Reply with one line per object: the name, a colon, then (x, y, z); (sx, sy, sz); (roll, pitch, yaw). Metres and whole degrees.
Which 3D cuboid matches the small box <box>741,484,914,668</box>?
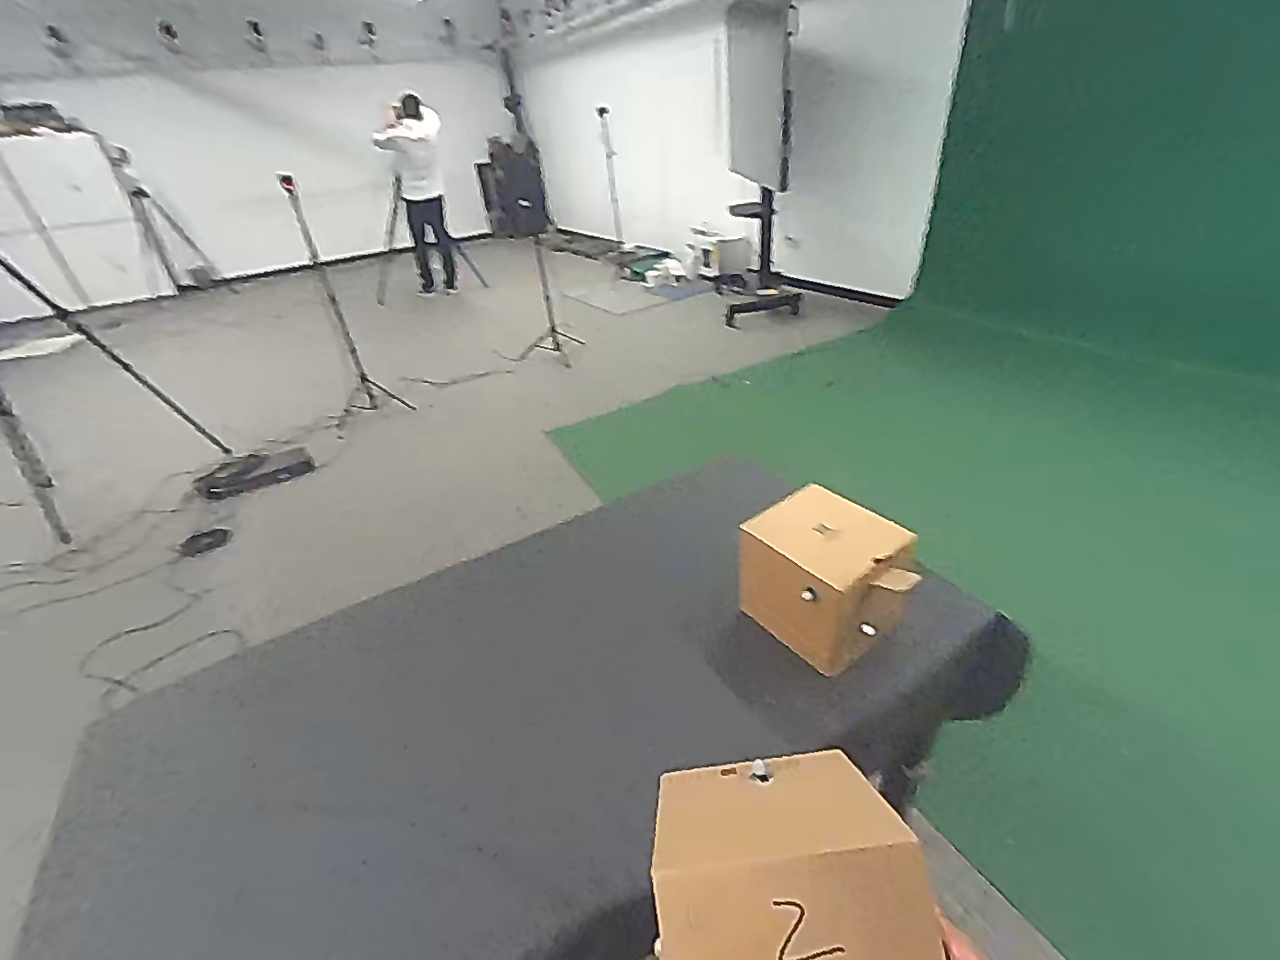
small box: (0.264, 0.137, 0.798); (0.168, 0.176, 0.179); (-25, 38, -27)
